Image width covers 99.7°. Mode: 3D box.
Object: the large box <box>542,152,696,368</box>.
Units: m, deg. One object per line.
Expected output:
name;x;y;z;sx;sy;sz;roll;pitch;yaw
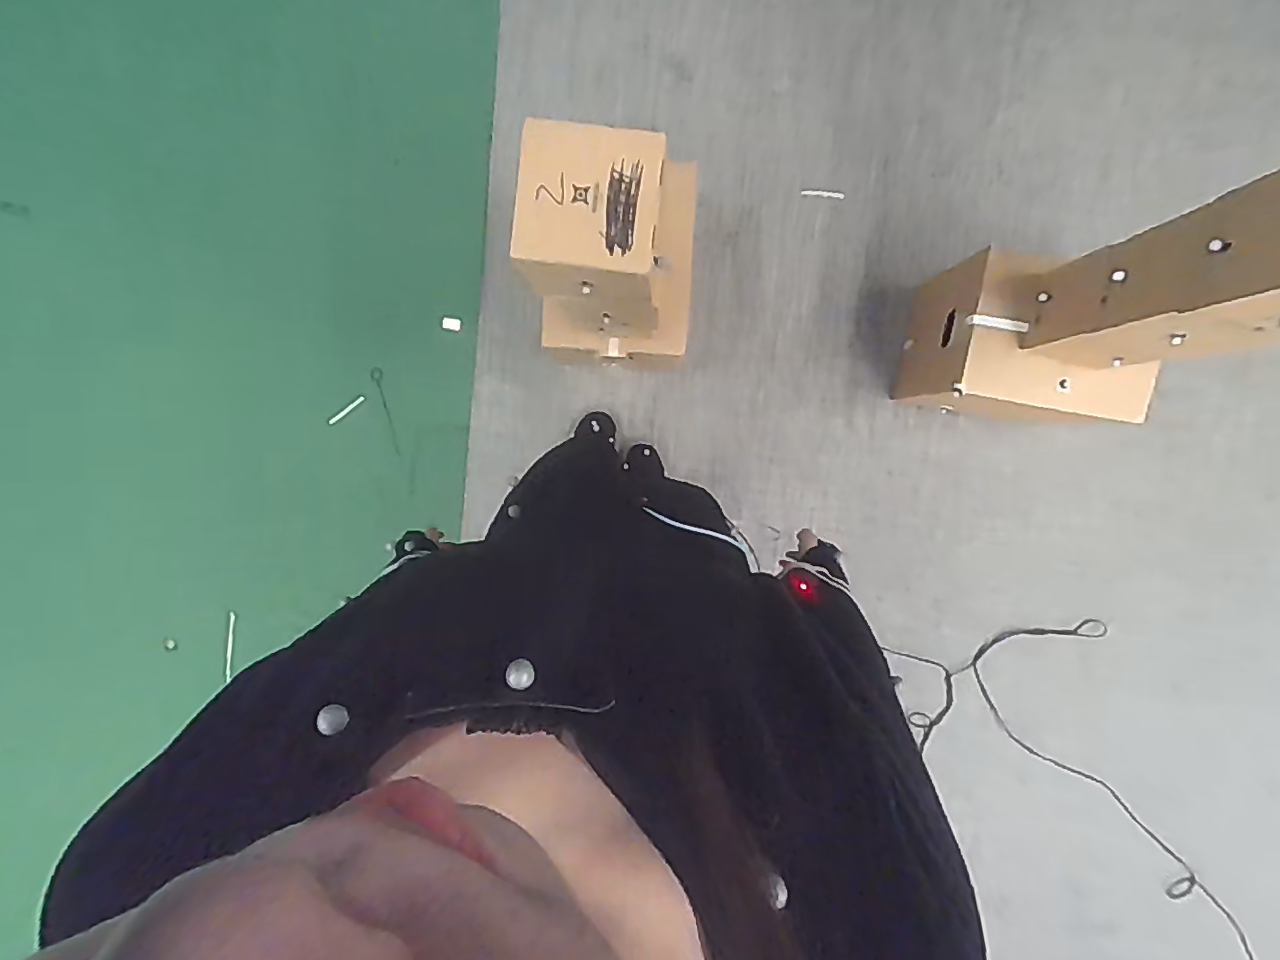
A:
large box;-0.041;-0.492;1.292;0.320;0.320;0.408;4;94;1

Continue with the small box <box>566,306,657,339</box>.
small box;-0.042;-0.382;1.058;0.168;0.176;0.179;7;94;1

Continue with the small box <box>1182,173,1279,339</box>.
small box;0.891;-0.300;0.715;0.168;0.176;0.179;15;94;-1

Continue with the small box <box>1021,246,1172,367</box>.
small box;0.895;-0.323;1.043;0.179;0.176;0.168;14;93;0

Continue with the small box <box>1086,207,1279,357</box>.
small box;0.894;-0.307;0.879;0.179;0.176;0.168;16;93;0

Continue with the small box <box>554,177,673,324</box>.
small box;-0.038;-0.365;0.893;0.168;0.176;0.179;7;95;0
